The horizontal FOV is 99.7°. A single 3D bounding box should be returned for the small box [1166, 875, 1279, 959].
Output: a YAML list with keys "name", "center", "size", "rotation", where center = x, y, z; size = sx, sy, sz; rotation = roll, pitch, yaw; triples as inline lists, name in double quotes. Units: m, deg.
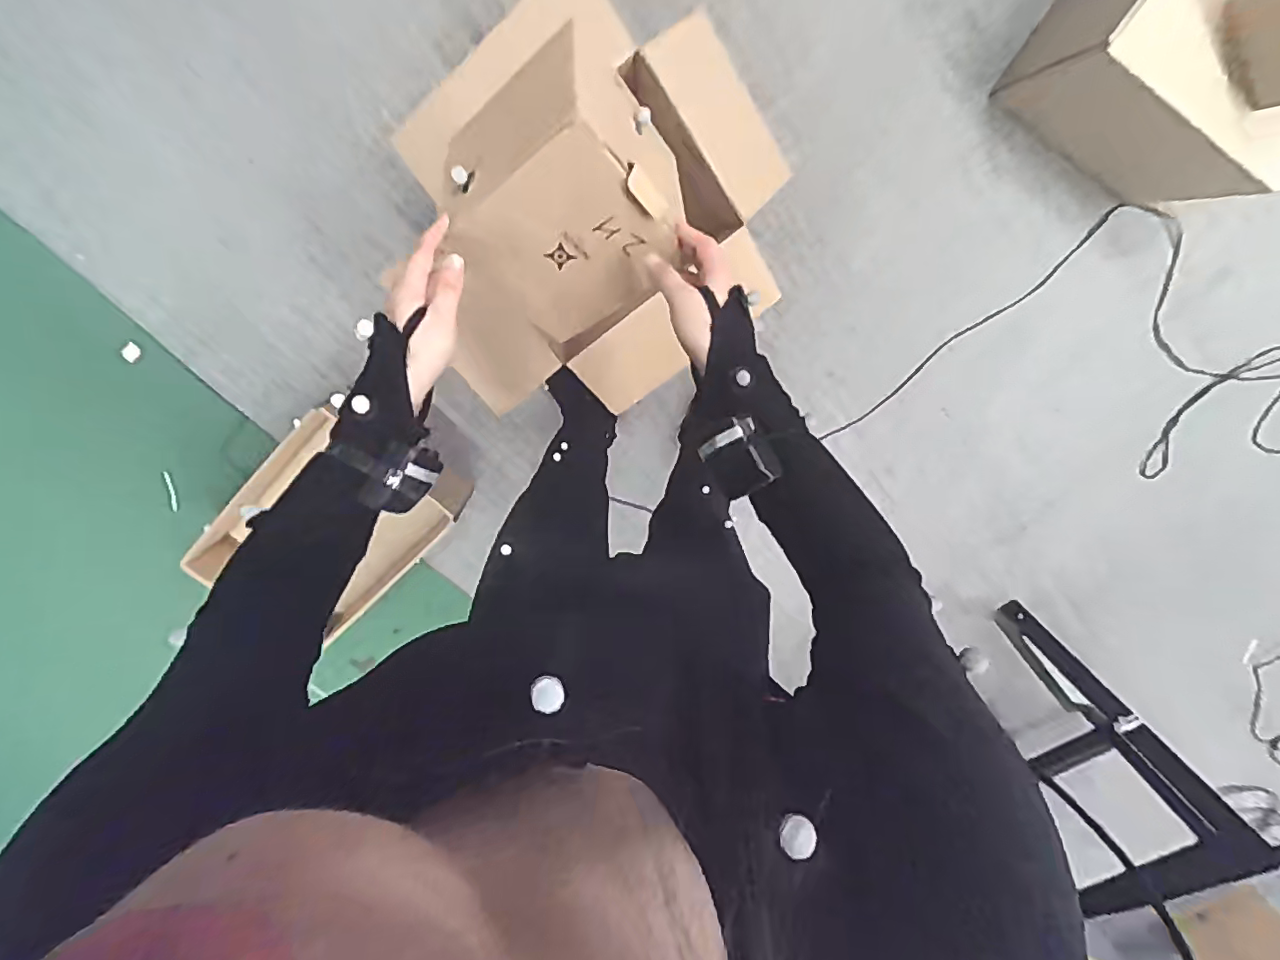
- name: "small box"
  center: [1.073, 0.819, 0.917]
  size: [0.179, 0.176, 0.168]
  rotation: [41, 108, -16]

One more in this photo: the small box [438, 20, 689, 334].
- name: "small box"
  center: [-0.073, -0.290, 0.540]
  size: [0.179, 0.176, 0.168]
  rotation: [-25, 146, 29]

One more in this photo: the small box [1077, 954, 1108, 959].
- name: "small box"
  center: [0.894, 1.044, 1.016]
  size: [0.168, 0.176, 0.179]
  rotation: [30, 111, -12]
